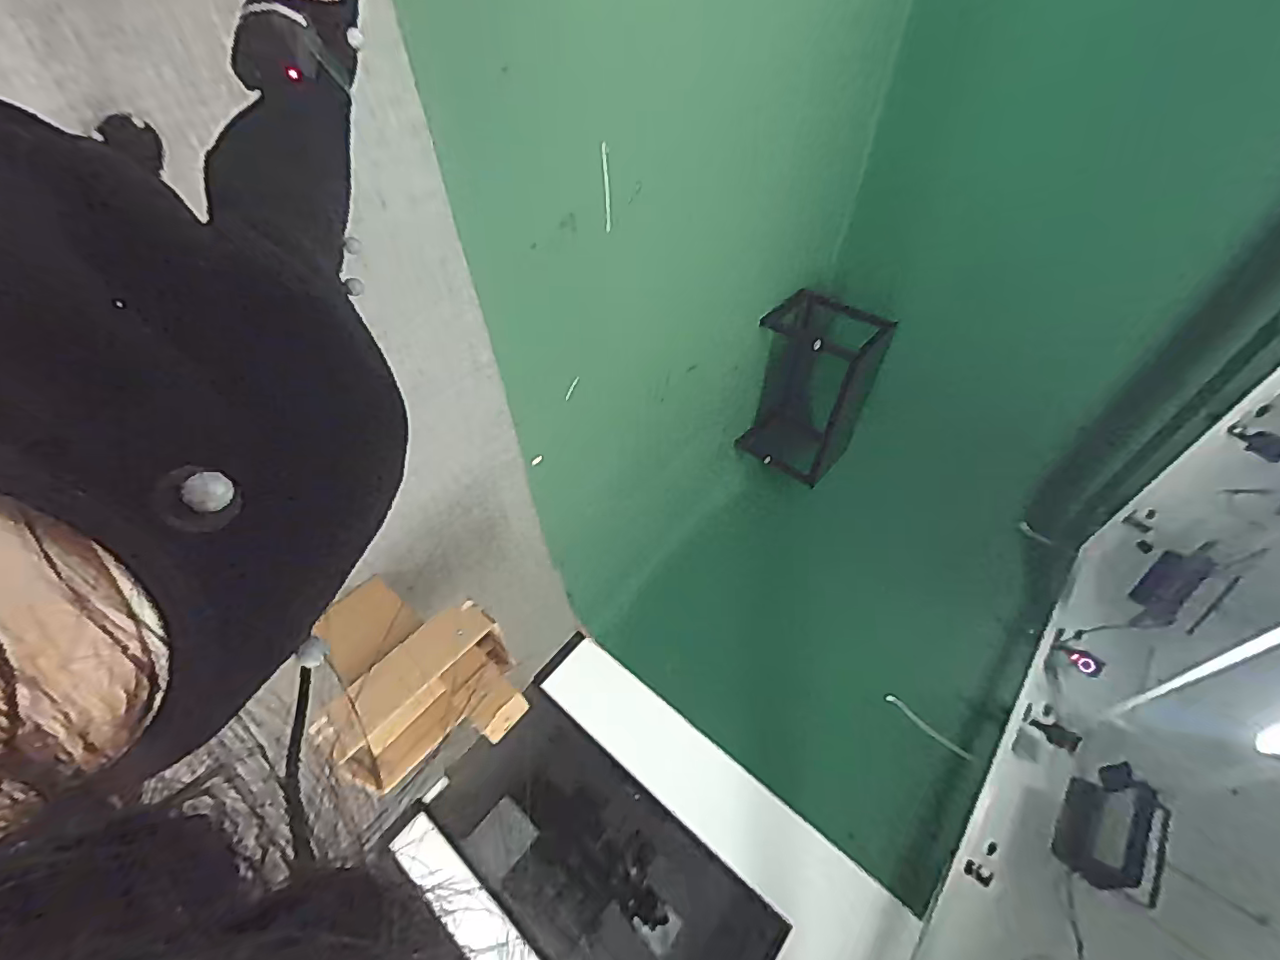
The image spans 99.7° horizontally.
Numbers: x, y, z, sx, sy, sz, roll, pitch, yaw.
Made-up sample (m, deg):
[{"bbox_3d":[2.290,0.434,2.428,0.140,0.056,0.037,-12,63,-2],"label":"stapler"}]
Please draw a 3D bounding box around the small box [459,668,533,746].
[{"bbox_3d":[-0.509,0.797,1.912,0.168,0.176,0.179,-42,149,-26],"label":"small box"}]

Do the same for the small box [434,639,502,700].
[{"bbox_3d":[-0.626,0.721,2.000,0.168,0.176,0.179,-43,150,-26],"label":"small box"}]
